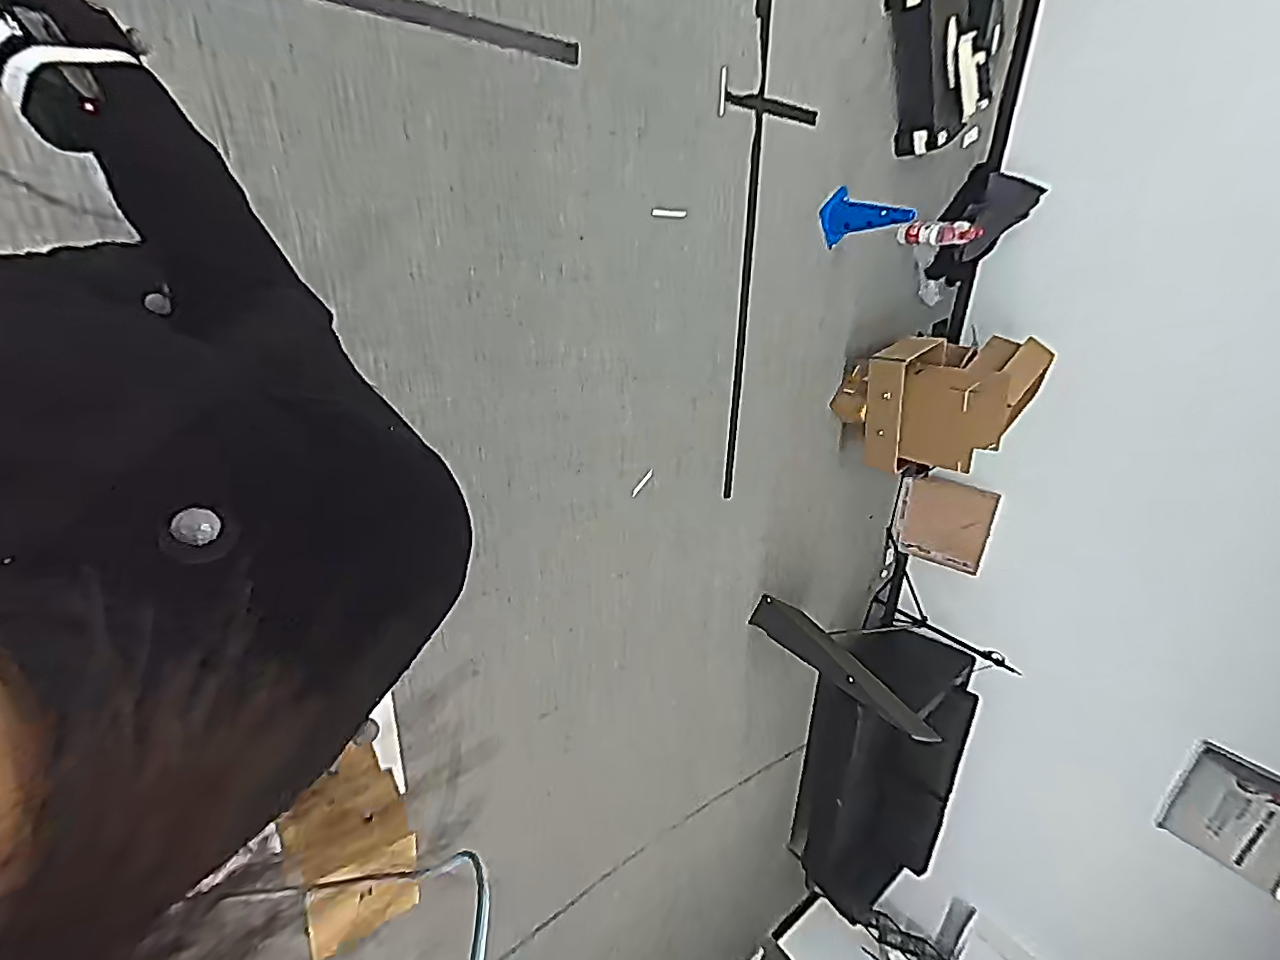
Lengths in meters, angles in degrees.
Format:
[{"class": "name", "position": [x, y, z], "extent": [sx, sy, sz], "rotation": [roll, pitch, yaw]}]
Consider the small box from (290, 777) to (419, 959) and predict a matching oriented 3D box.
[{"class": "small box", "position": [-0.501, 0.660, 0.947], "extent": [0.168, 0.176, 0.179], "rotation": [-10, 115, -37]}]

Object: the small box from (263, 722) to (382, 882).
[{"class": "small box", "position": [-0.613, 0.612, 1.056], "extent": [0.179, 0.176, 0.168], "rotation": [-11, 115, -35]}]
